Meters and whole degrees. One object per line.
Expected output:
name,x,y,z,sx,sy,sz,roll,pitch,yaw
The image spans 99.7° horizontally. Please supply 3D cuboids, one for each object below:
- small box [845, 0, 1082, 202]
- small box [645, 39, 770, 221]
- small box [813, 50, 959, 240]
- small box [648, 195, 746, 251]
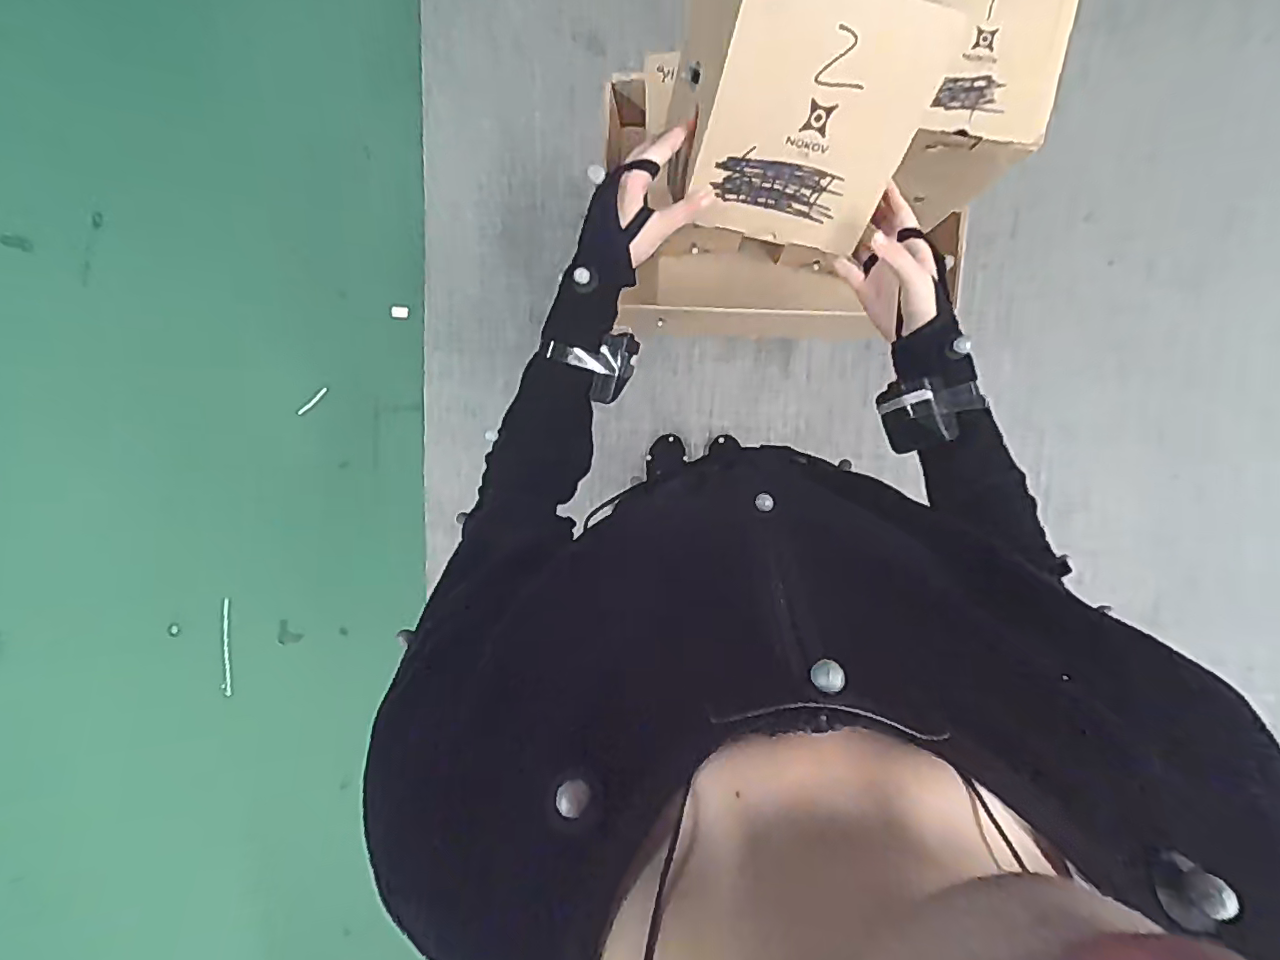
small box,0.351,-0.448,0.620,0.168,0.176,0.179,11,95,3
small box,0.095,-0.497,0.798,0.168,0.176,0.179,0,96,4
small box,0.360,-0.467,0.782,0.168,0.176,0.179,8,96,3
small box,0.101,-0.526,0.960,0.168,0.176,0.179,0,95,5
